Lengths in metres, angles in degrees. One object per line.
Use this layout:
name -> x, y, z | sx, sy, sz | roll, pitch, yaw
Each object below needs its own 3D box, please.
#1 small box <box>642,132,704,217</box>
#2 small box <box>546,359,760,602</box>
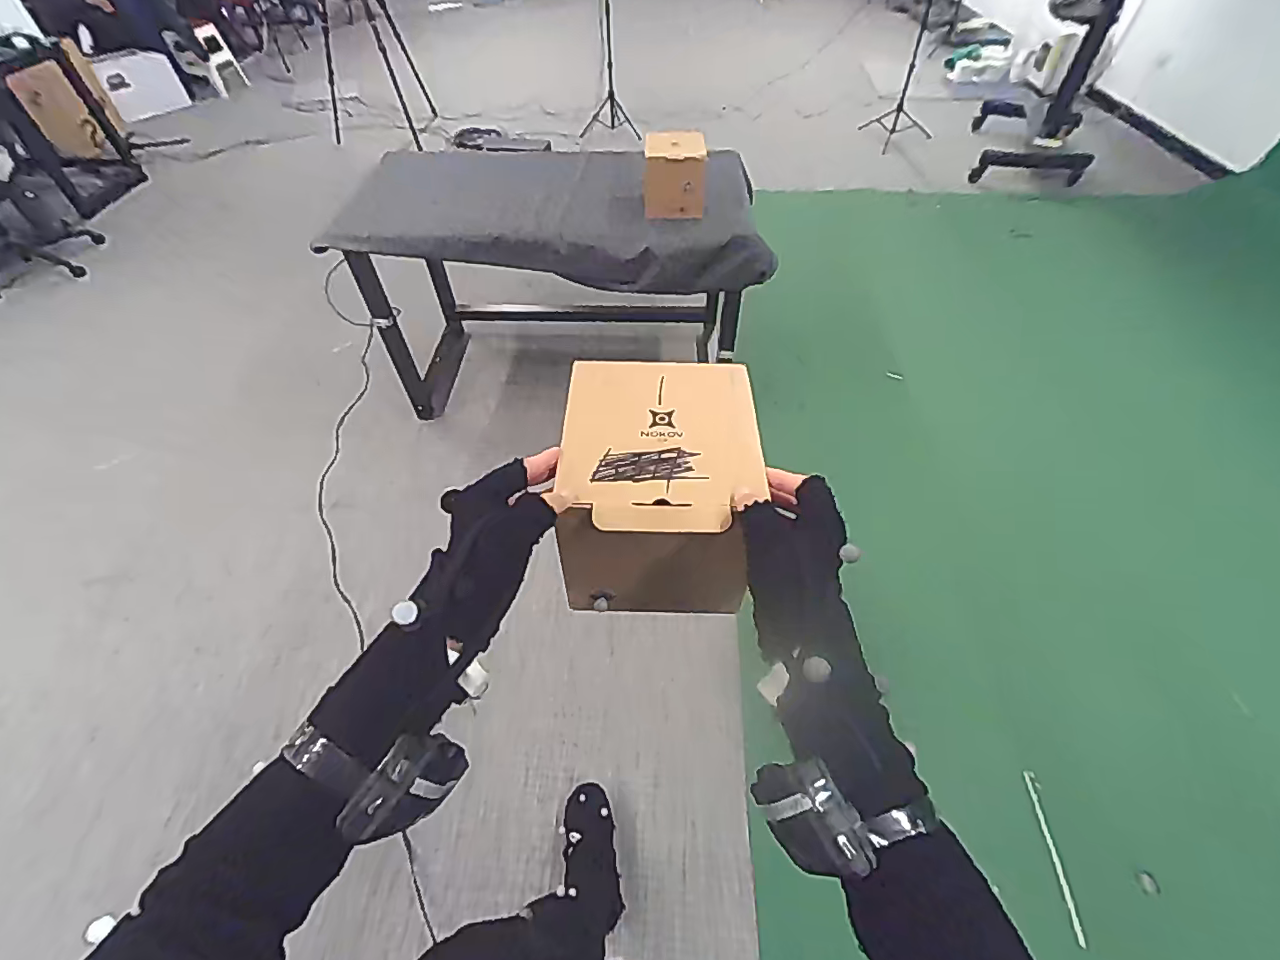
small box -> 0.091, -0.865, 1.536 | 0.168, 0.176, 0.179 | 0, 49, 0
small box -> 0.012, 0.003, 0.520 | 0.168, 0.176, 0.179 | 1, 48, 0
